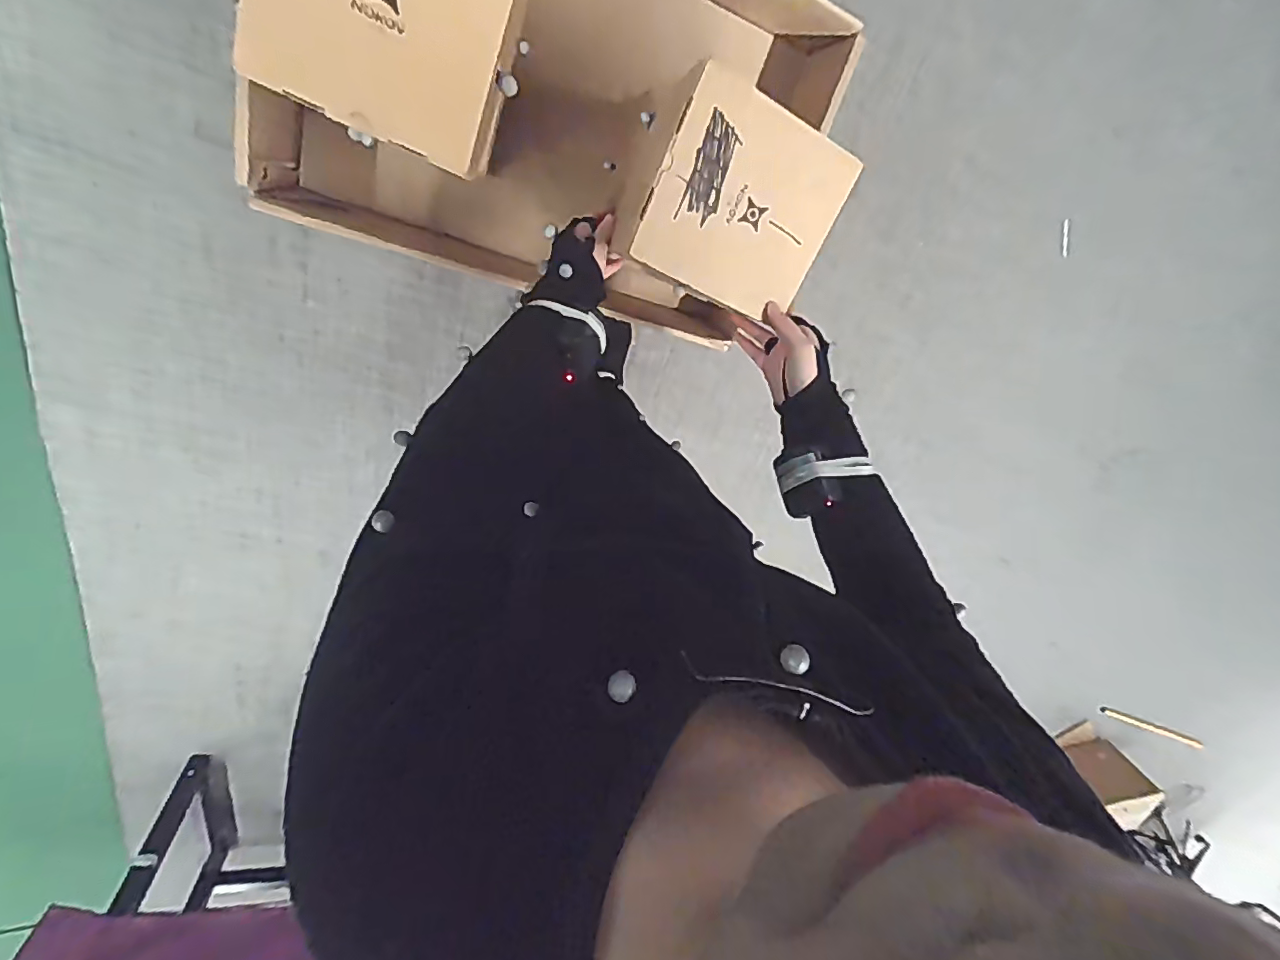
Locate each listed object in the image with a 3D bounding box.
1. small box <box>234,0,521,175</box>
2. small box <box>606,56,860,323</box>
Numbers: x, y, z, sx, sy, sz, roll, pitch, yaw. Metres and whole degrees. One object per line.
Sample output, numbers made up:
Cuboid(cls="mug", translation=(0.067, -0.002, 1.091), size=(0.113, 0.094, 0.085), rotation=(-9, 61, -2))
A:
Cuboid(cls="small box", translation=(-0.199, -0.382, 0.449), size=(0.168, 0.176, 0.179), rotation=(17, 114, -21))
Cuboid(cls="small box", translation=(0.078, -0.286, 0.563), size=(0.179, 0.176, 0.168), rotation=(18, 111, -21))
